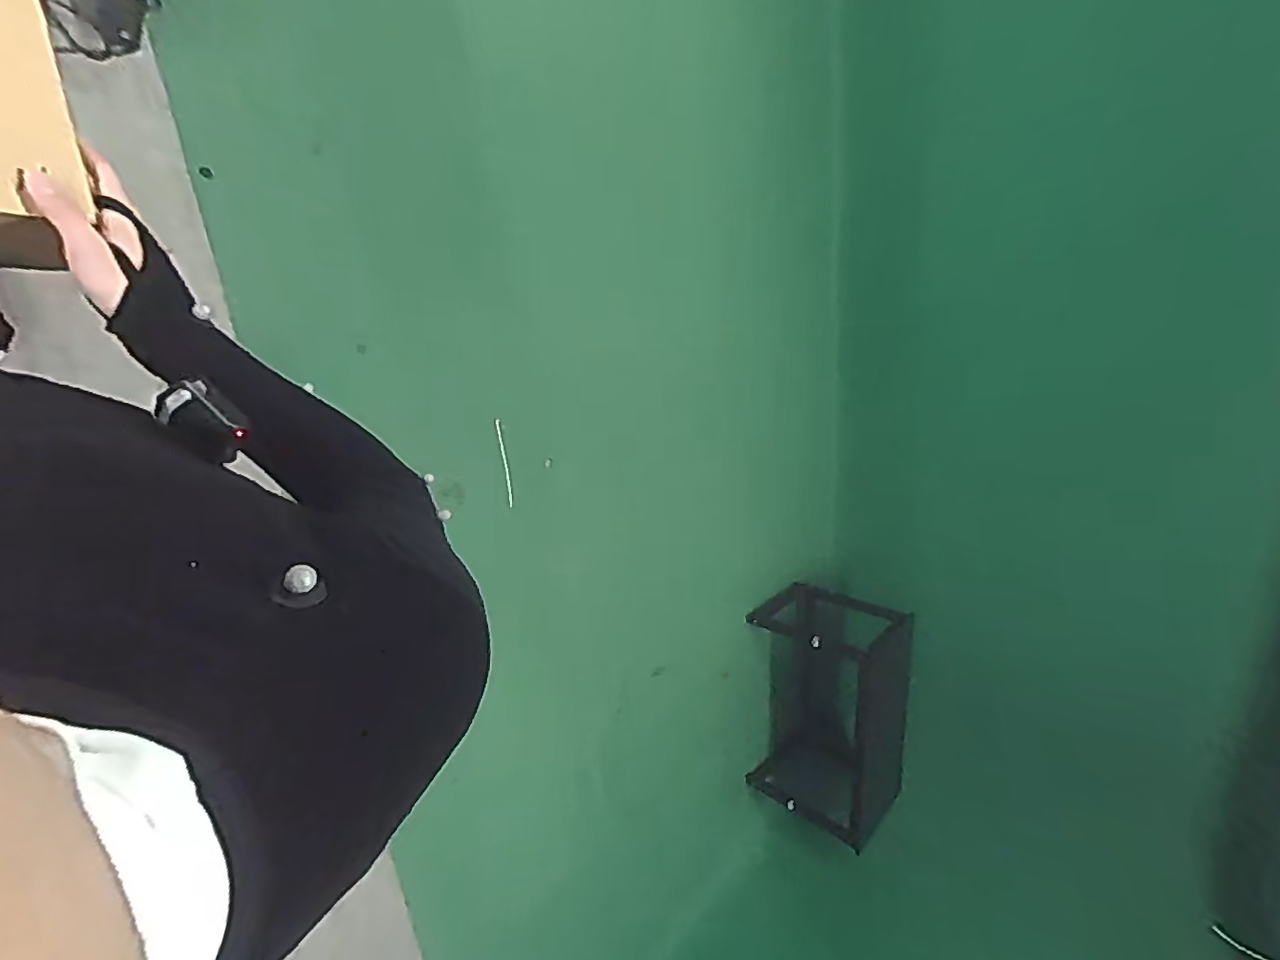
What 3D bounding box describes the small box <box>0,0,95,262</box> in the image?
[{"bbox_3d":[-0.571,-0.290,0.426,0.168,0.176,0.179,-17,104,-46],"label":"small box"}]
